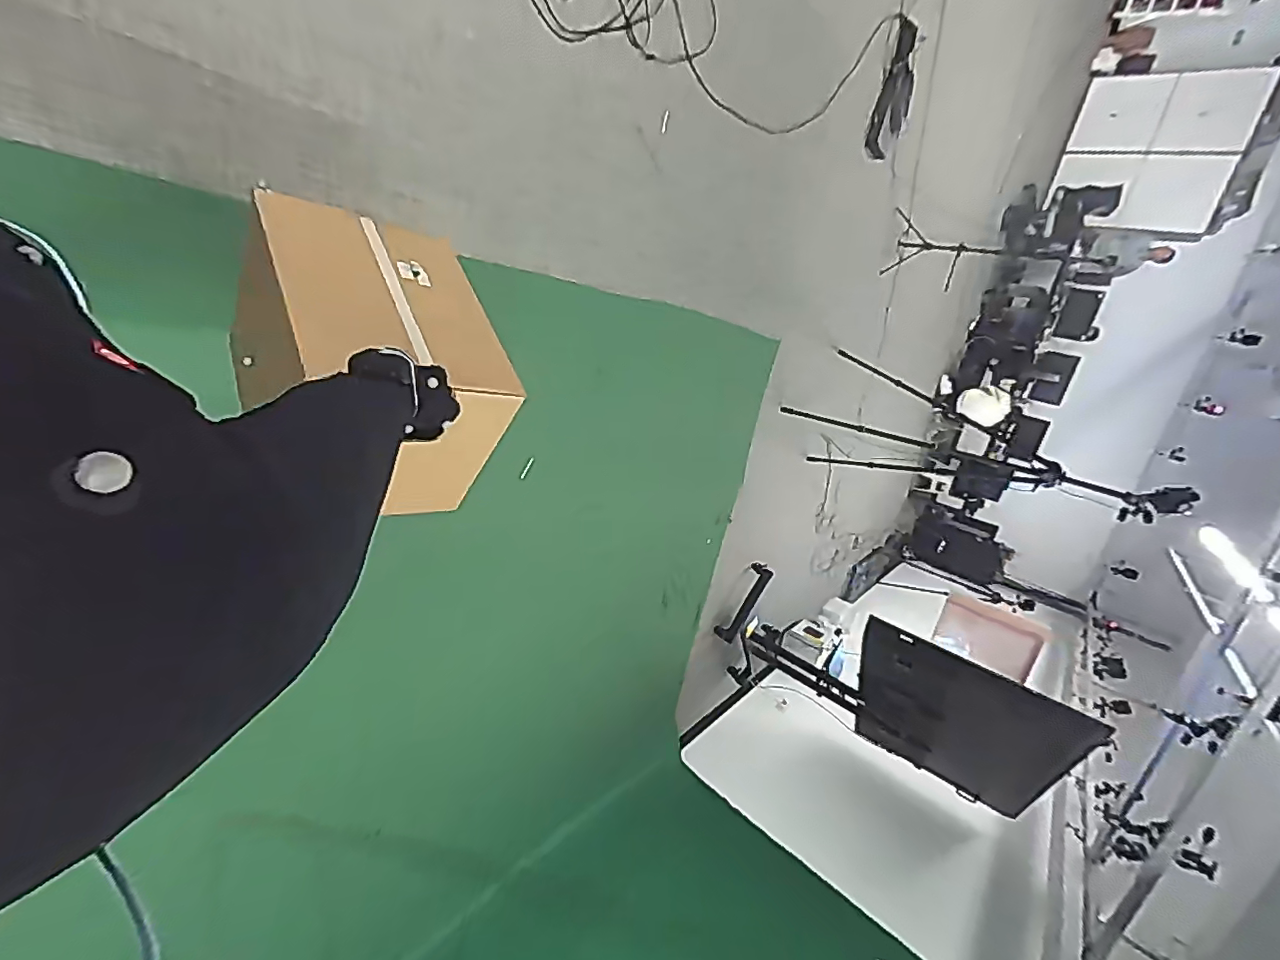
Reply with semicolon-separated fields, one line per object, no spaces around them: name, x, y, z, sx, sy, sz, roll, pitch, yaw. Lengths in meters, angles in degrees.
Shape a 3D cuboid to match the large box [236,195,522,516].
large box;-0.468;-0.195;0.935;0.320;0.408;0.320;-2;143;-46
